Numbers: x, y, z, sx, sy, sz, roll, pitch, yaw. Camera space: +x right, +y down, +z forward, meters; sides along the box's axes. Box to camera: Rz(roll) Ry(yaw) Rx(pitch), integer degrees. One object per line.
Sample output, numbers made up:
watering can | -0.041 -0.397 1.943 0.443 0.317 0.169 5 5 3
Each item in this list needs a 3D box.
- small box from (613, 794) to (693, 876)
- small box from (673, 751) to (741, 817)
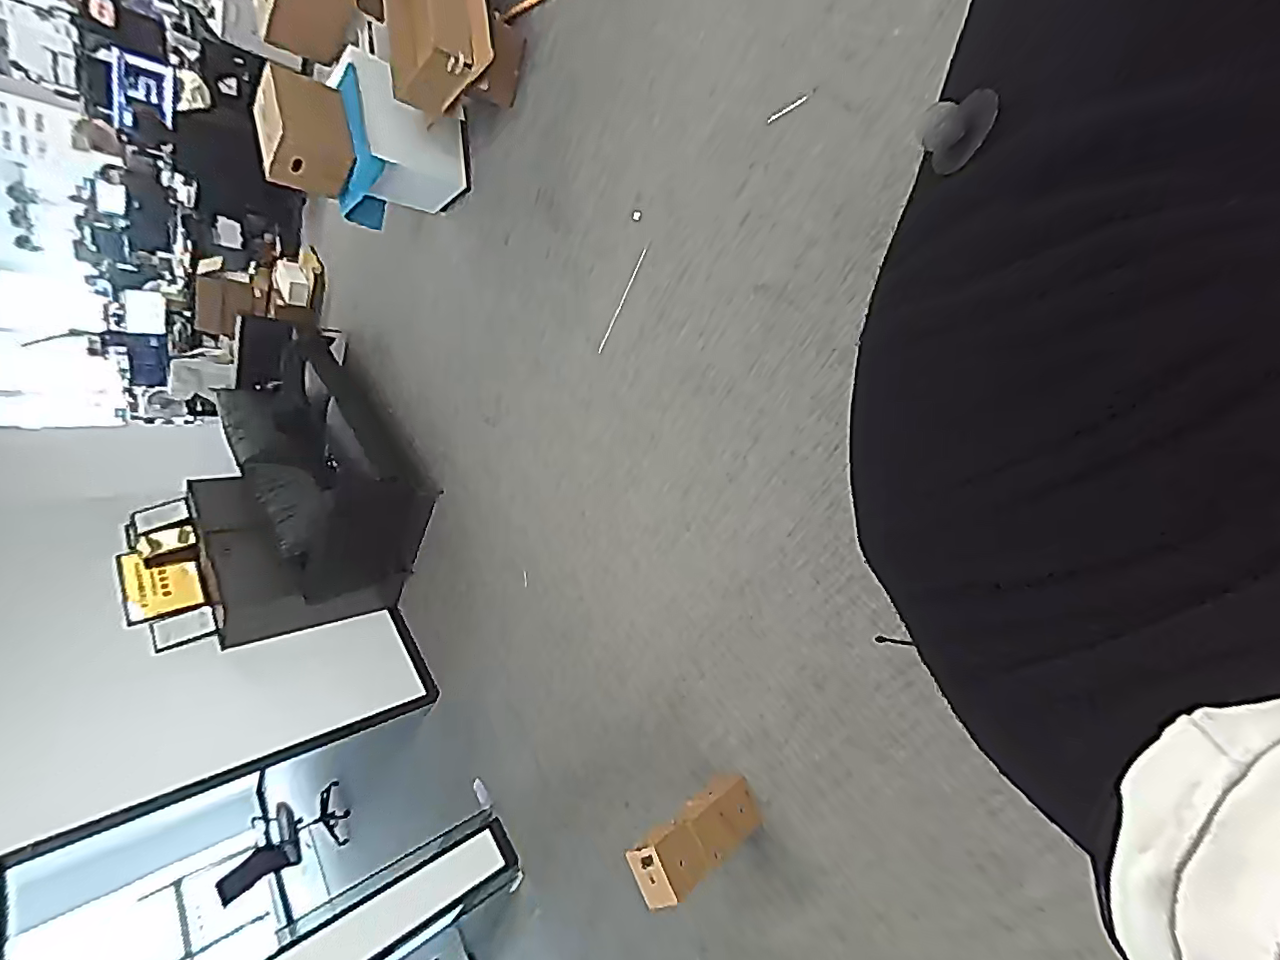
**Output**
small box | 0.047 1.203 1.843 0.168 0.176 0.179 -43 68 38
small box | 0.267 1.169 2.085 0.179 0.176 0.168 -36 72 40
